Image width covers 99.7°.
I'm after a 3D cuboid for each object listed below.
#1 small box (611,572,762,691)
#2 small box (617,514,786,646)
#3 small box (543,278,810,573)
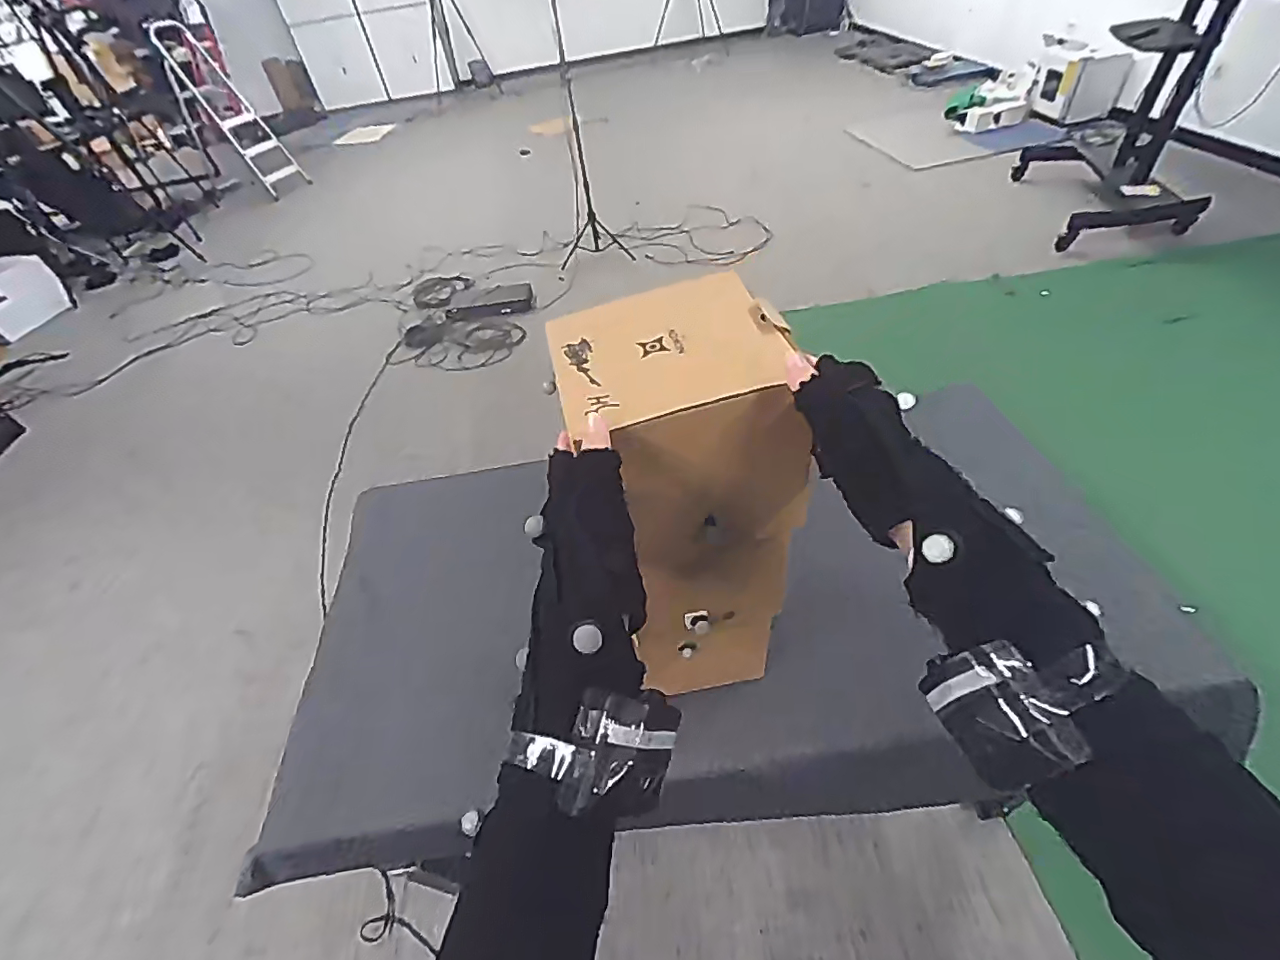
[{"bbox_3d":[0.060,0.162,0.722,0.179,0.176,0.168,-10,46,0],"label":"small box"},{"bbox_3d":[0.049,0.054,0.602,0.168,0.176,0.179,-15,47,-2],"label":"small box"},{"bbox_3d":[0.027,-0.045,0.471,0.179,0.176,0.168,-15,45,-2],"label":"small box"}]
